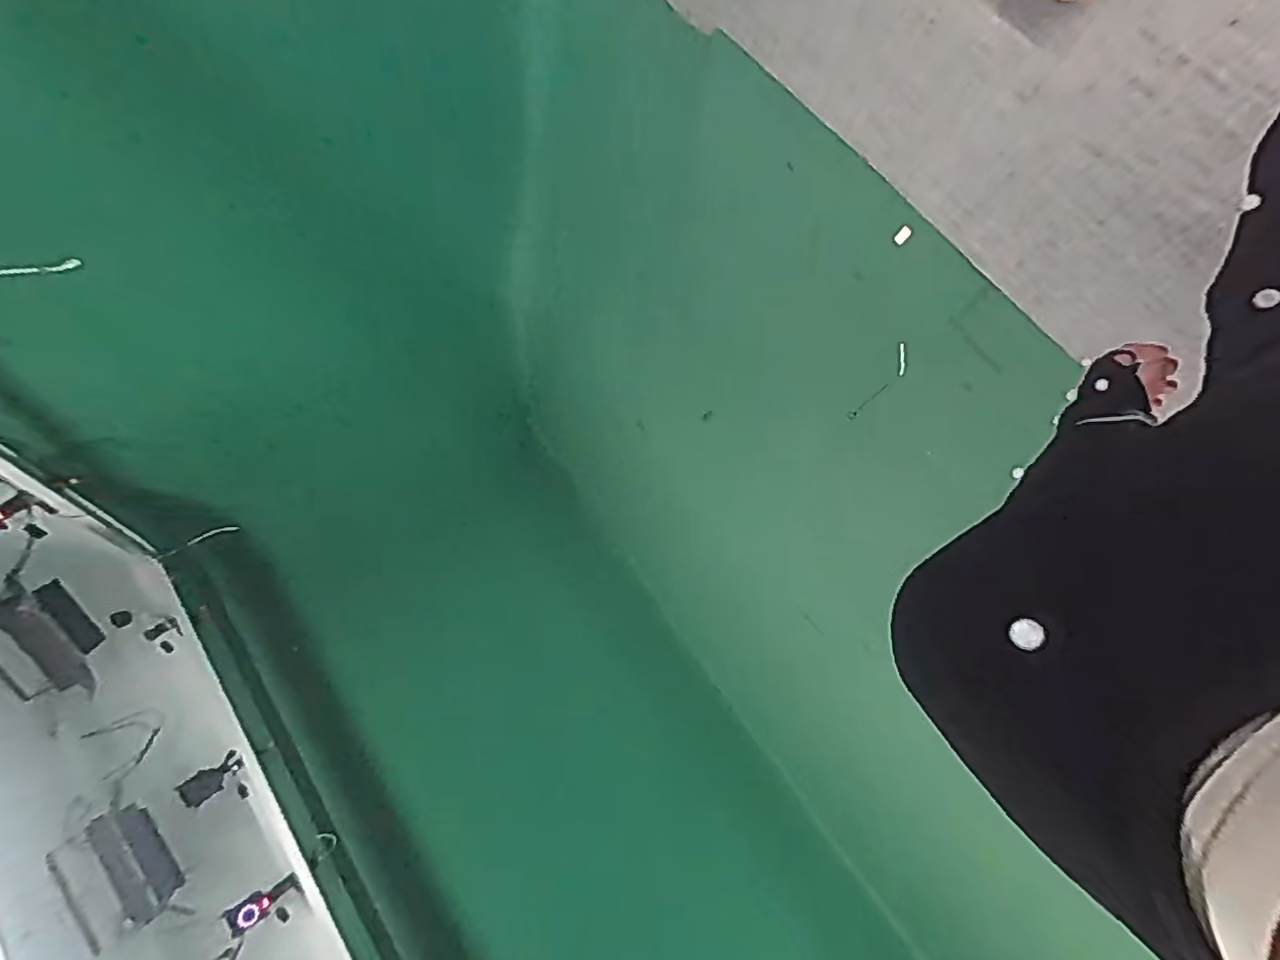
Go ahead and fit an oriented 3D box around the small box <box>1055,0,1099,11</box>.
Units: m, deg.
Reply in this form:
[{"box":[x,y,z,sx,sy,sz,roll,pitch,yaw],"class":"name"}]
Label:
[{"box":[0.844,-1.020,1.000,0.179,0.176,0.168,56,150,9],"class":"small box"}]
